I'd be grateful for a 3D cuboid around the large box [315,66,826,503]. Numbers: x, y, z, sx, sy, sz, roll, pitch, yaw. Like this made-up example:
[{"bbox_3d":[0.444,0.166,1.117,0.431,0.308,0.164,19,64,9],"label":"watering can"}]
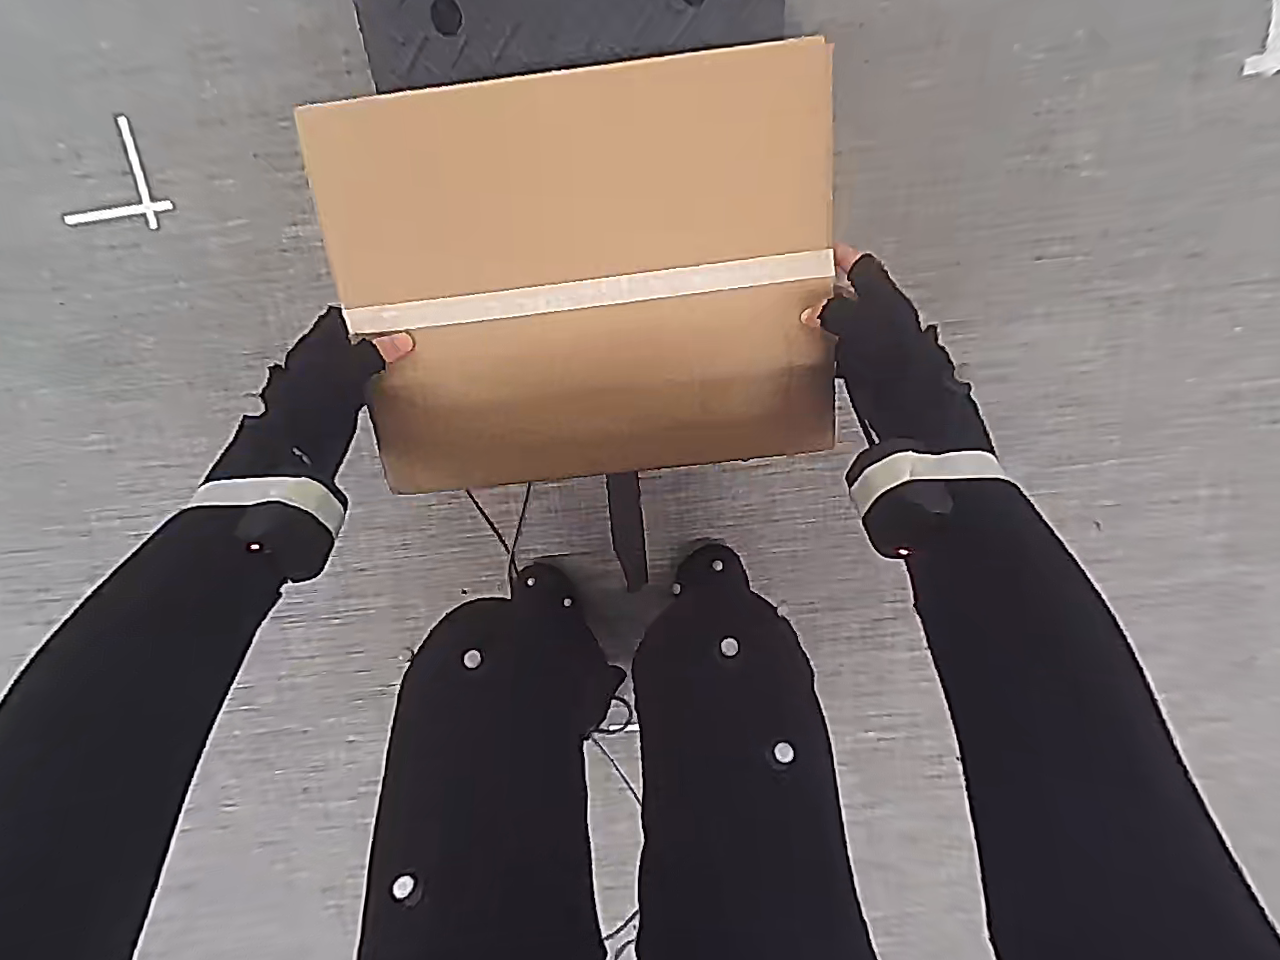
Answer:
[{"bbox_3d":[-0.042,-0.190,0.602,0.408,0.320,0.320,-6,106,3],"label":"large box"}]
